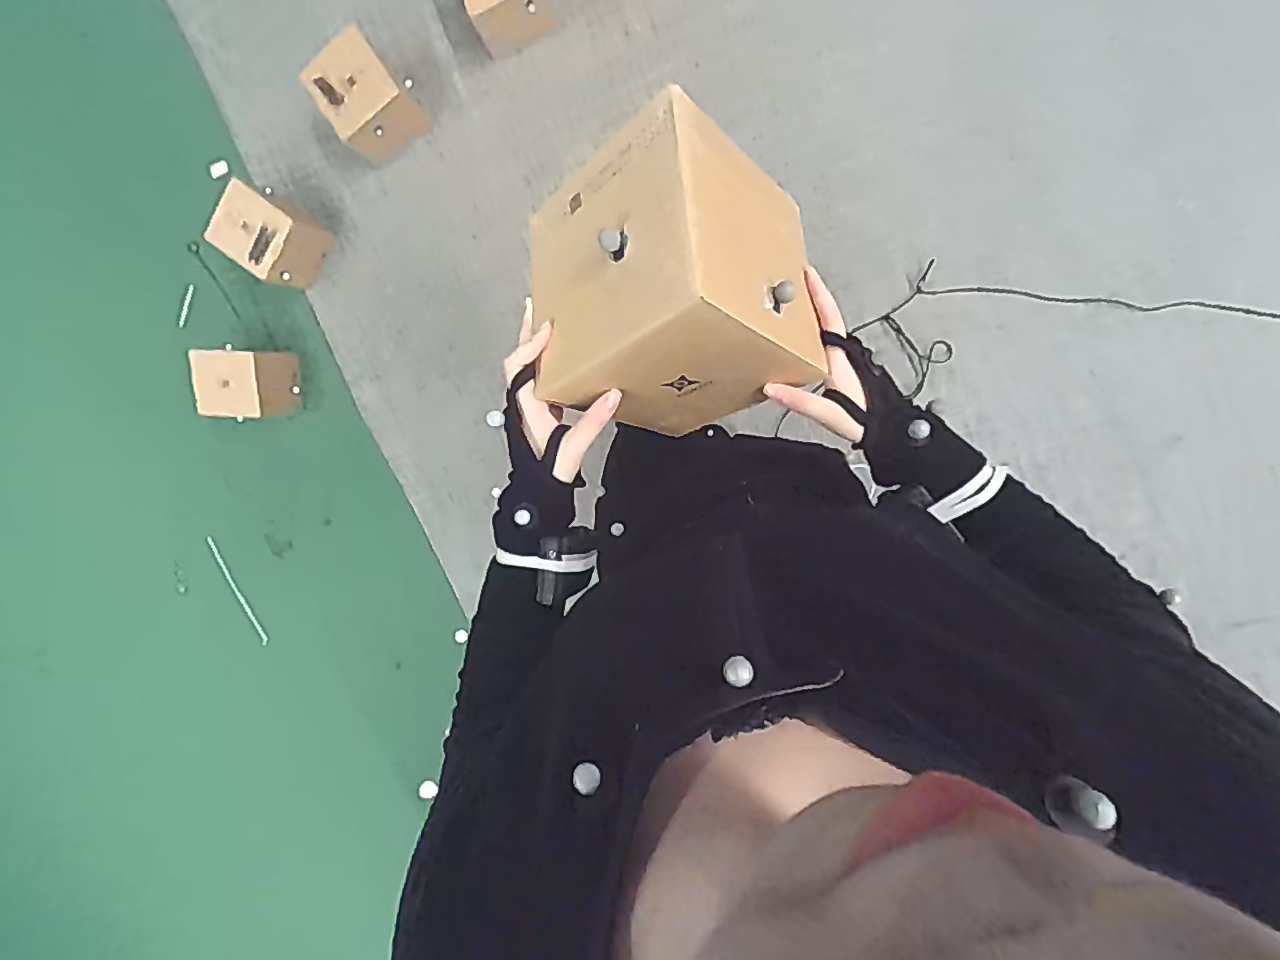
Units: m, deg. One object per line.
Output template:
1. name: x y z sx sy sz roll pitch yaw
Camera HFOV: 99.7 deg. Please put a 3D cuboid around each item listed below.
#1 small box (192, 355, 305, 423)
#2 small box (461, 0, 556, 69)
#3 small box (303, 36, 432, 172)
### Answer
1. small box: -1.039 -0.245 1.446 0.179 0.176 0.168 3 102 4
2. small box: -0.301 -1.081 1.210 0.179 0.176 0.168 -20 98 8
3. small box: -0.634 -0.874 1.281 0.179 0.176 0.168 -33 97 10
